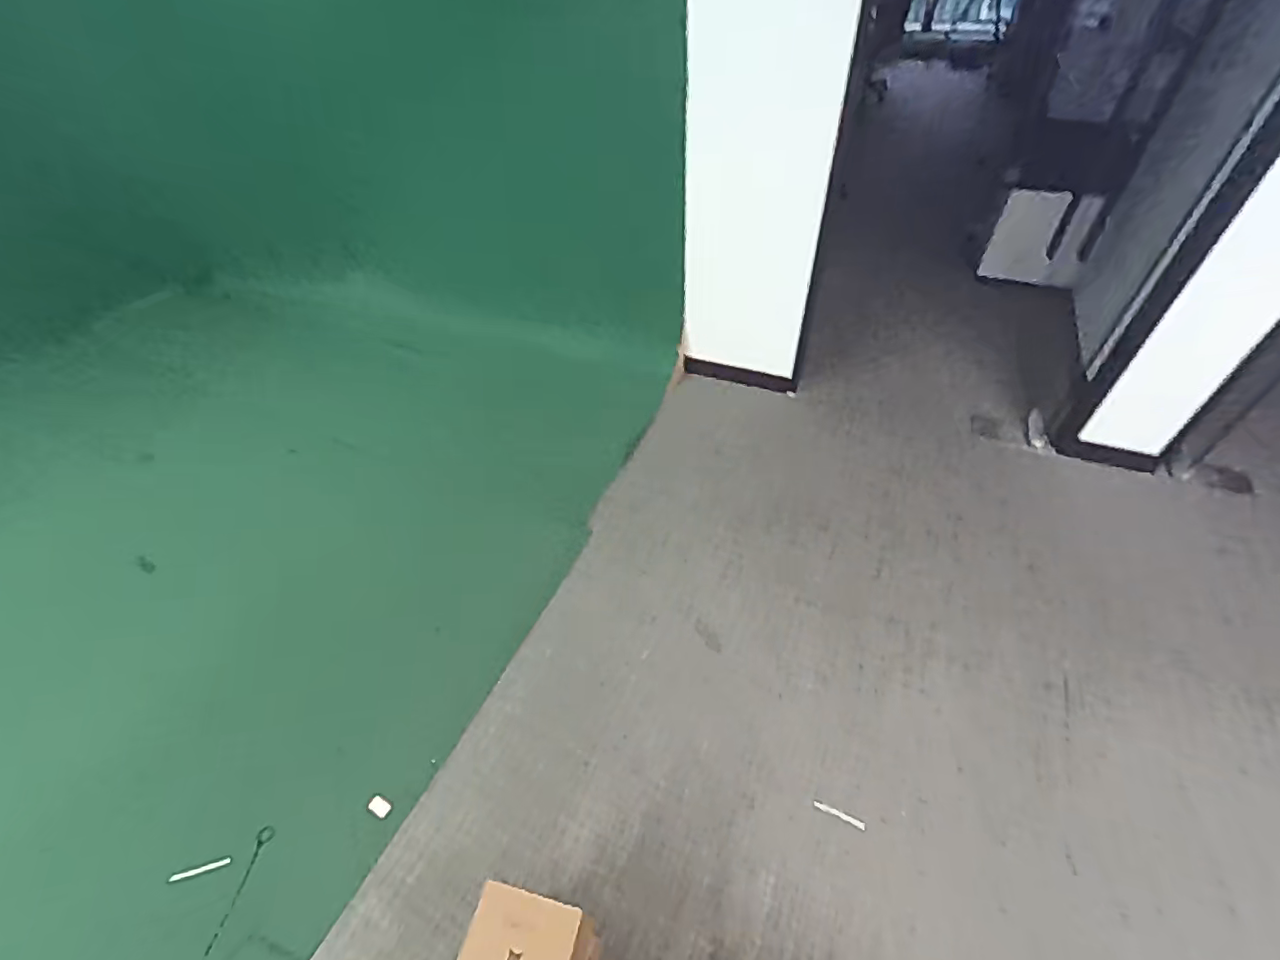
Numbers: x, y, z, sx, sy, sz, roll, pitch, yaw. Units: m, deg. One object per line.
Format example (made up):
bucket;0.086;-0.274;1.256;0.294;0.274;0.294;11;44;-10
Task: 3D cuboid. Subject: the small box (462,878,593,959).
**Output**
small box;-0.181;0.778;0.865;0.168;0.176;0.179;10;47;12
